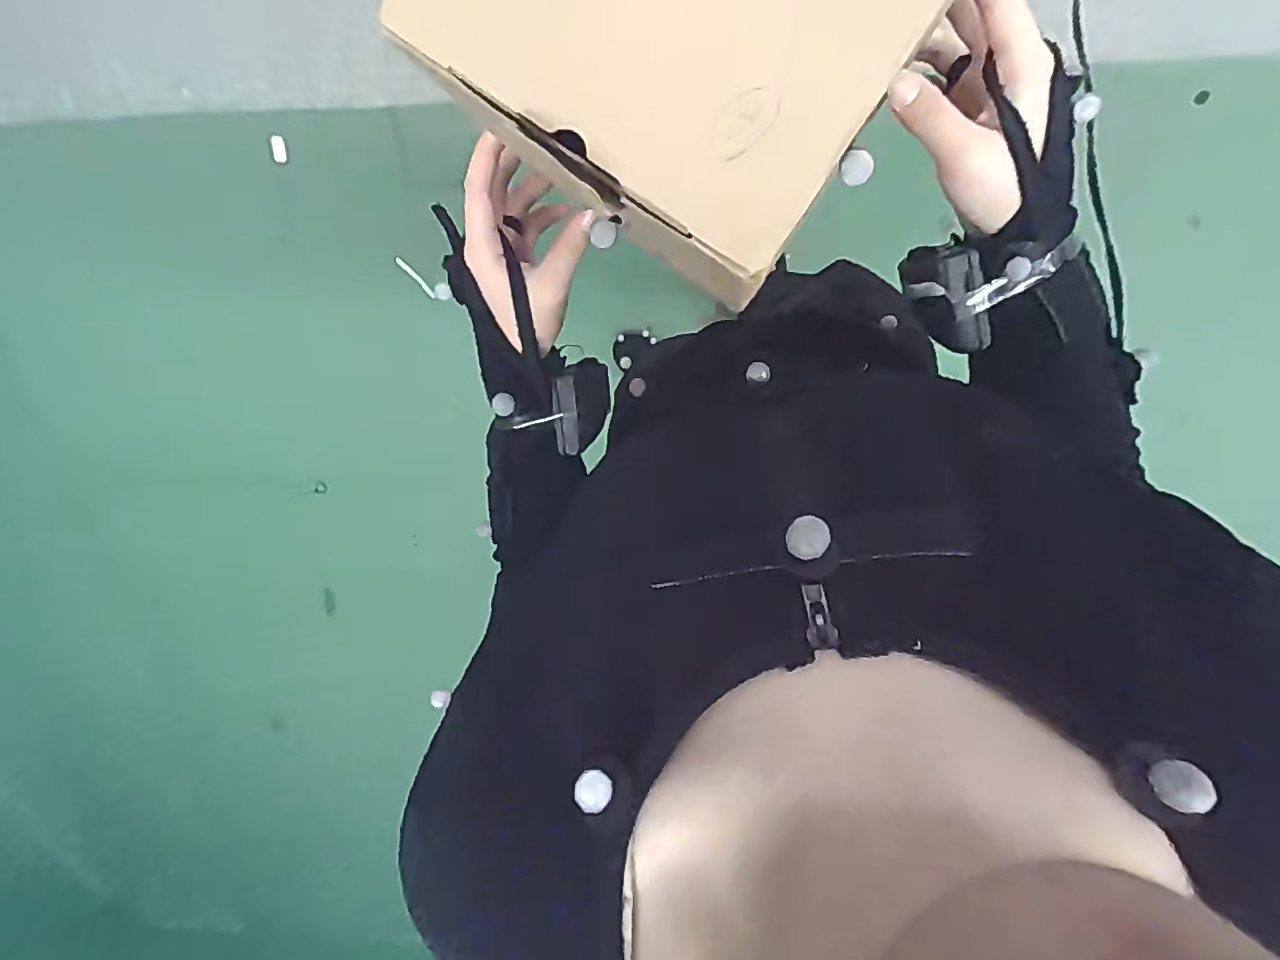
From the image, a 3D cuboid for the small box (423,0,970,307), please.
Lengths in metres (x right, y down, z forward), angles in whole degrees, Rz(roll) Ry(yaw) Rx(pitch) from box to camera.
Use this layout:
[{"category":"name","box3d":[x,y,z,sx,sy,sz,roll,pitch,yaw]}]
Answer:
[{"category":"small box","box3d":[0.040,-0.202,0.261,0.168,0.176,0.179,34,107,-1]}]
